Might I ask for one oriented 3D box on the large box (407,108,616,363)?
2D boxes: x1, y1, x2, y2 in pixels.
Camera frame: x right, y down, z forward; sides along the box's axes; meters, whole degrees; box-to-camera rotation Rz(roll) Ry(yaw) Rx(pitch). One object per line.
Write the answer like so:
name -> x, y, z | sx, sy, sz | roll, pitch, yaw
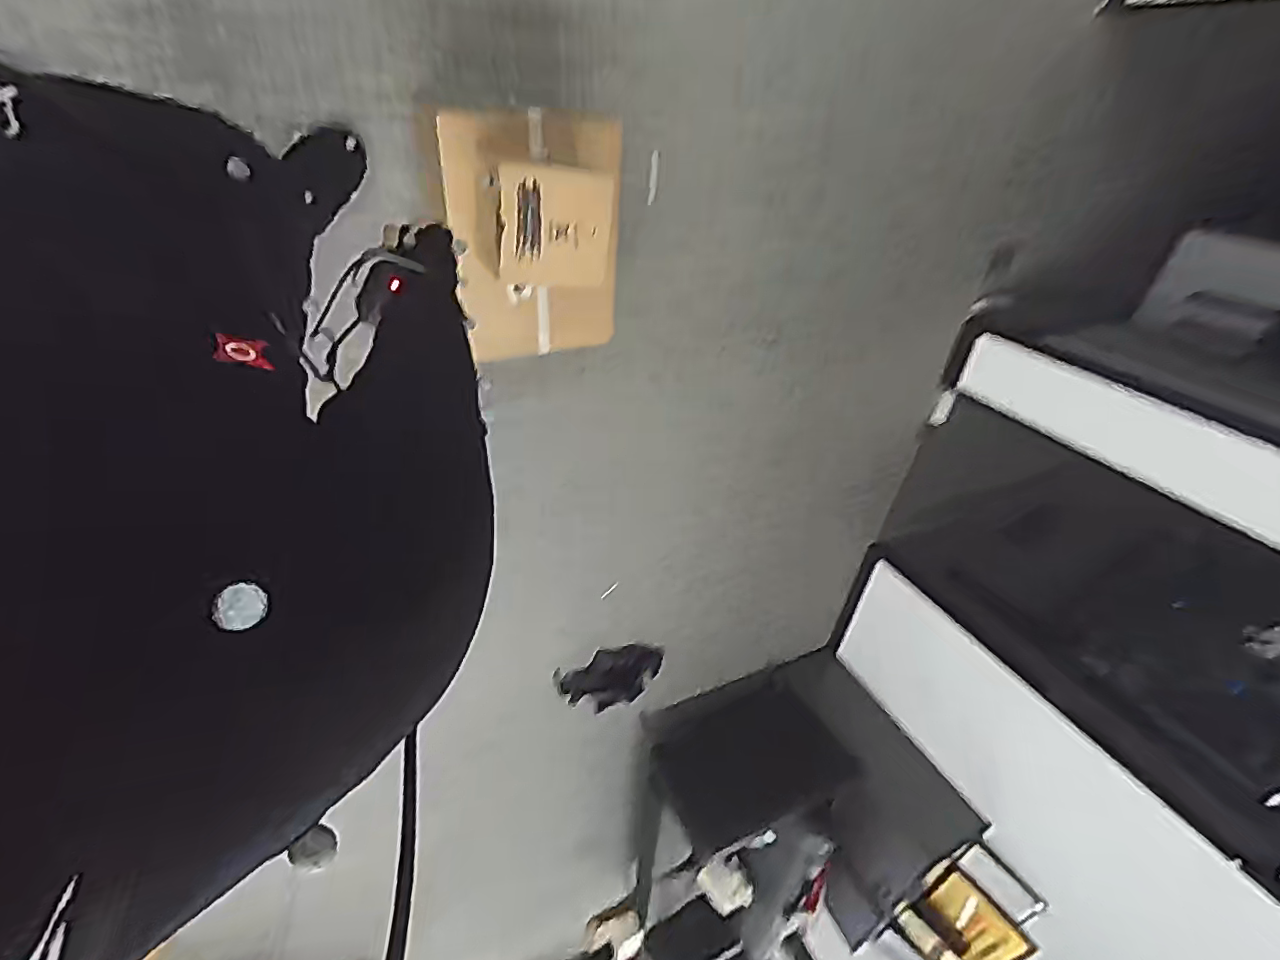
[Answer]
large box -> -0.257, -0.503, 1.101 | 0.320, 0.320, 0.408 | -13, 130, -23
